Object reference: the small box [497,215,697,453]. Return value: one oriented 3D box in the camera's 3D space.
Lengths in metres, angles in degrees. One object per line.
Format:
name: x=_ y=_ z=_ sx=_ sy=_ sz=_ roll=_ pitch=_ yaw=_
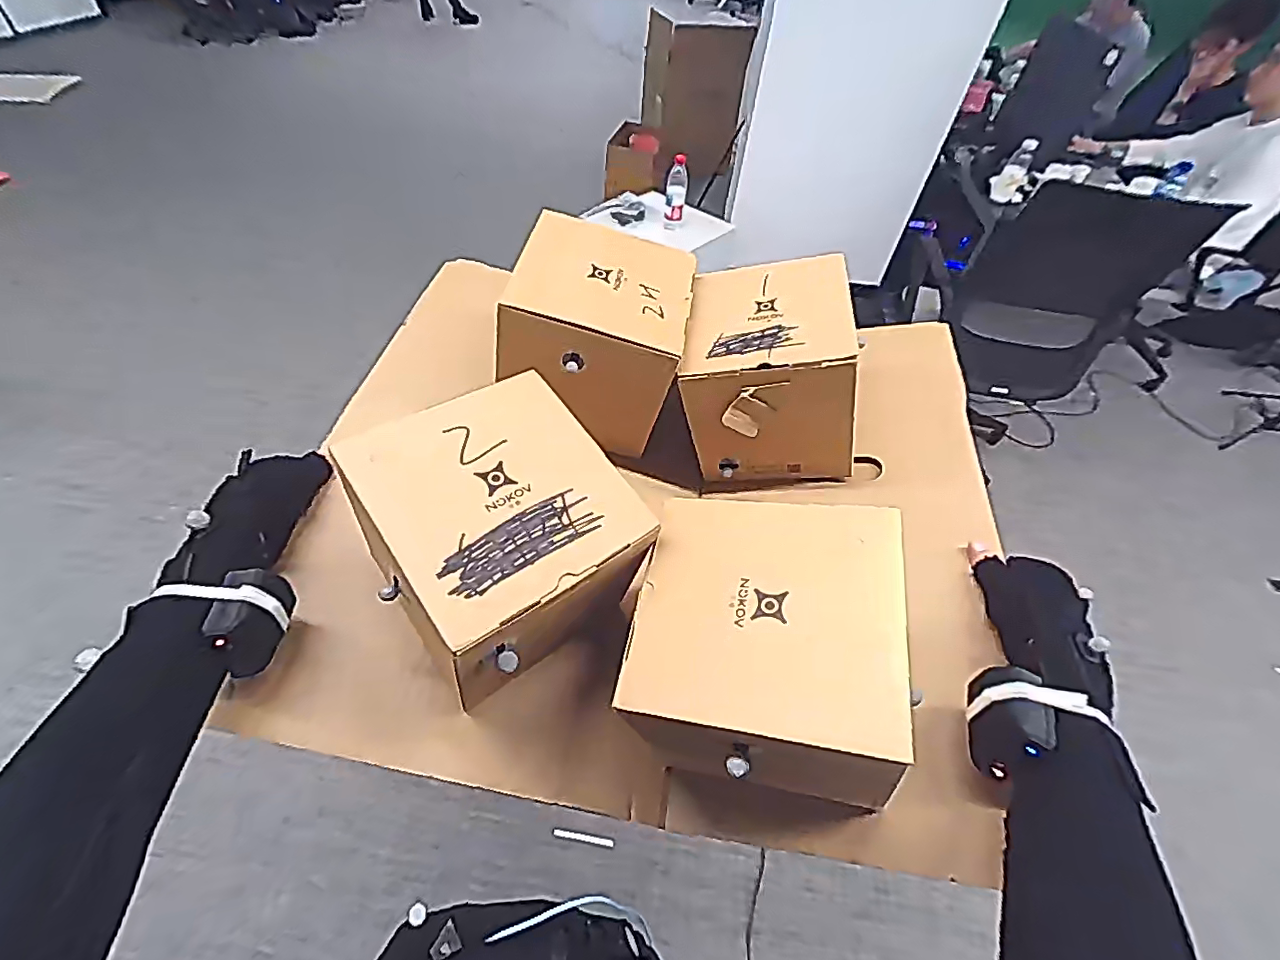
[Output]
small box: x=-0.052 y=-0.153 z=0.604 sx=0.179 sy=0.176 sz=0.168 roll=16 pitch=55 yaw=-6
